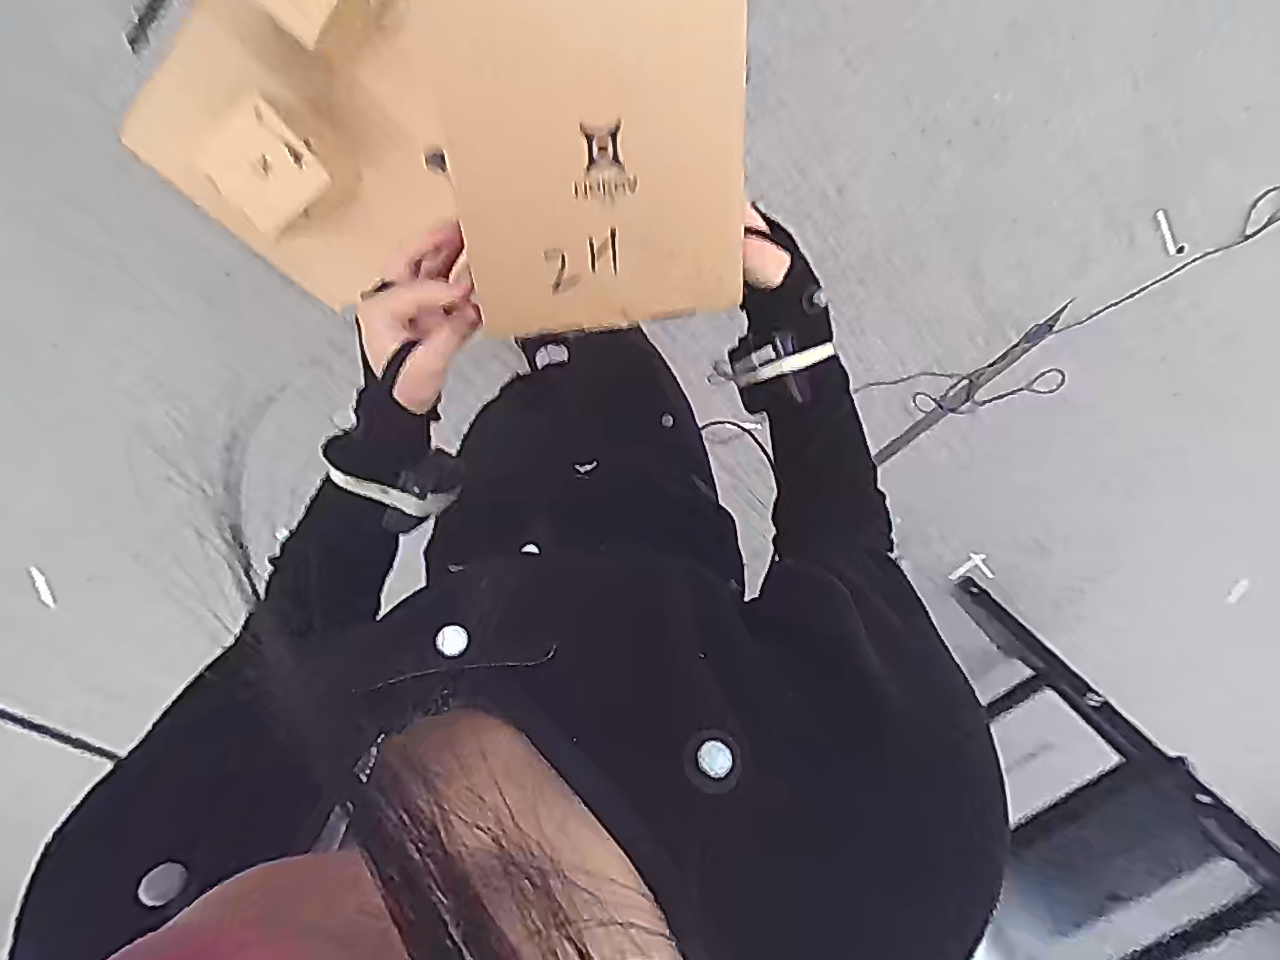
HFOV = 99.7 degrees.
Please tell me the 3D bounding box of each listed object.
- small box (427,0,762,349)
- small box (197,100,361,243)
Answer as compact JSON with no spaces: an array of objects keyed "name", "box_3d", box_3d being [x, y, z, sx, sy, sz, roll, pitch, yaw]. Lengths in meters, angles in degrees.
[{"name":"small box","box_3d":[-0.029,-0.205,0.364,0.168,0.176,0.179,-9,122,-7]},{"name":"small box","box_3d":[-0.683,-0.588,1.050,0.179,0.176,0.168,-34,117,11]}]
